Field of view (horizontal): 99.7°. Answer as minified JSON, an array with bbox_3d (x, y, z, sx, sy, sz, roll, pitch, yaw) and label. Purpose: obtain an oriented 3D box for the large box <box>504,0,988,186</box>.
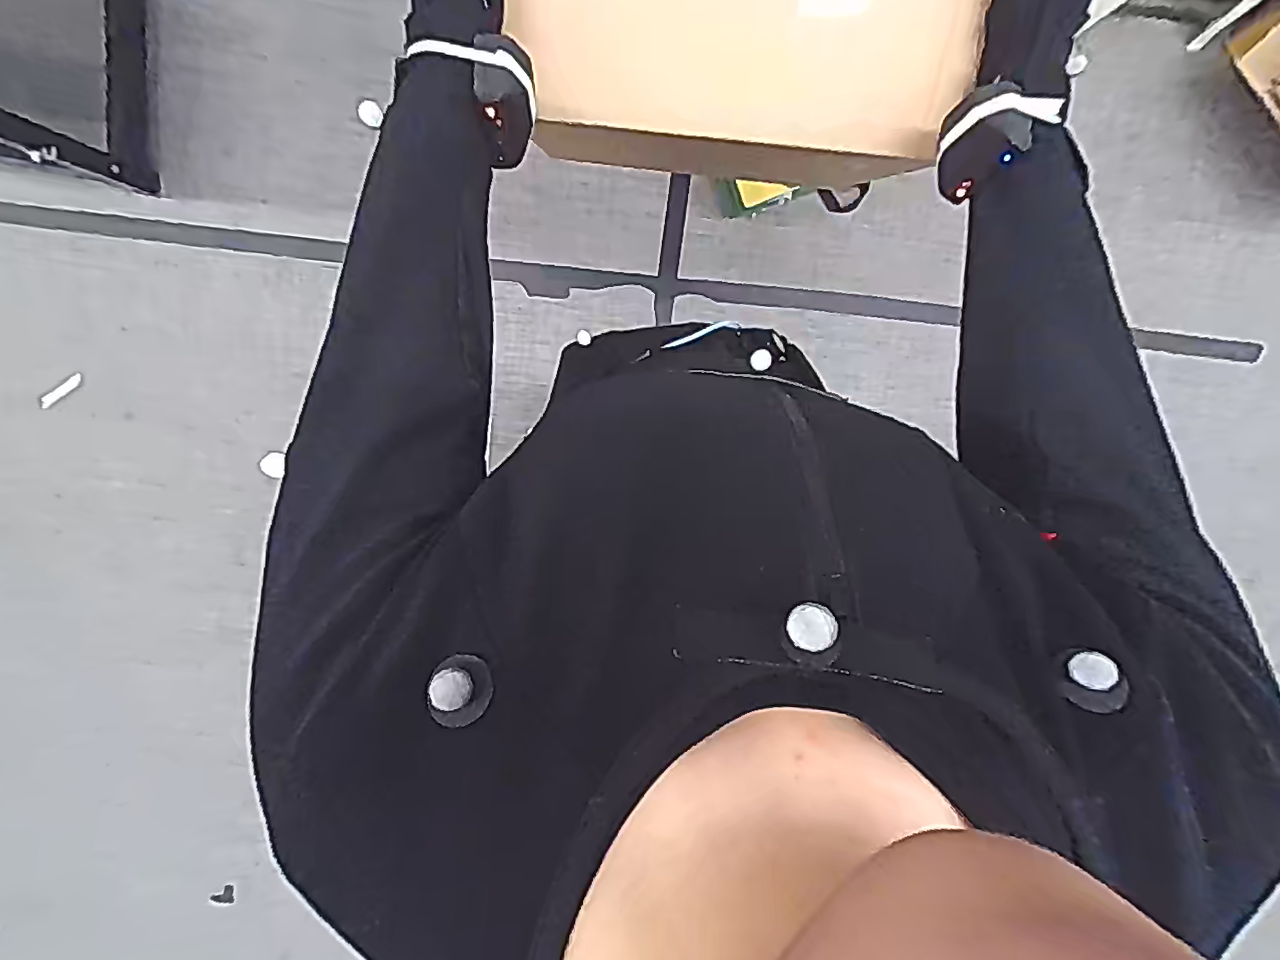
[{"bbox_3d":[0.087,-0.501,0.553,0.408,0.320,0.320,4,115,-3],"label":"large box"}]
